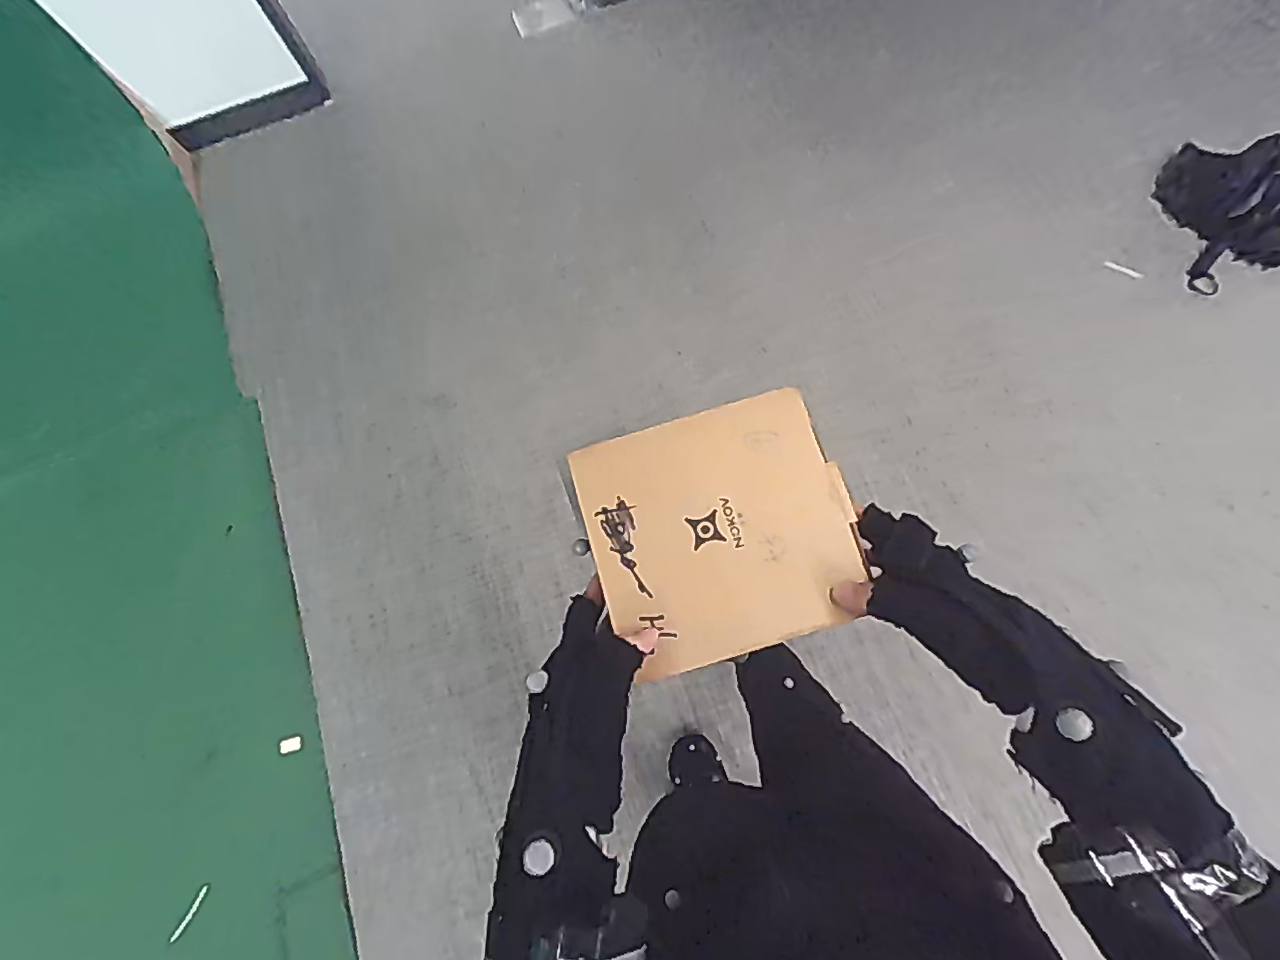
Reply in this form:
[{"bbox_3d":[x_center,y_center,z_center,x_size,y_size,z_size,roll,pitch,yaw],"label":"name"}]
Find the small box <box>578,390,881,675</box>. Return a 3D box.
[{"bbox_3d":[0.060,0.051,0.451,0.179,0.176,0.168,-16,74,-2],"label":"small box"}]
